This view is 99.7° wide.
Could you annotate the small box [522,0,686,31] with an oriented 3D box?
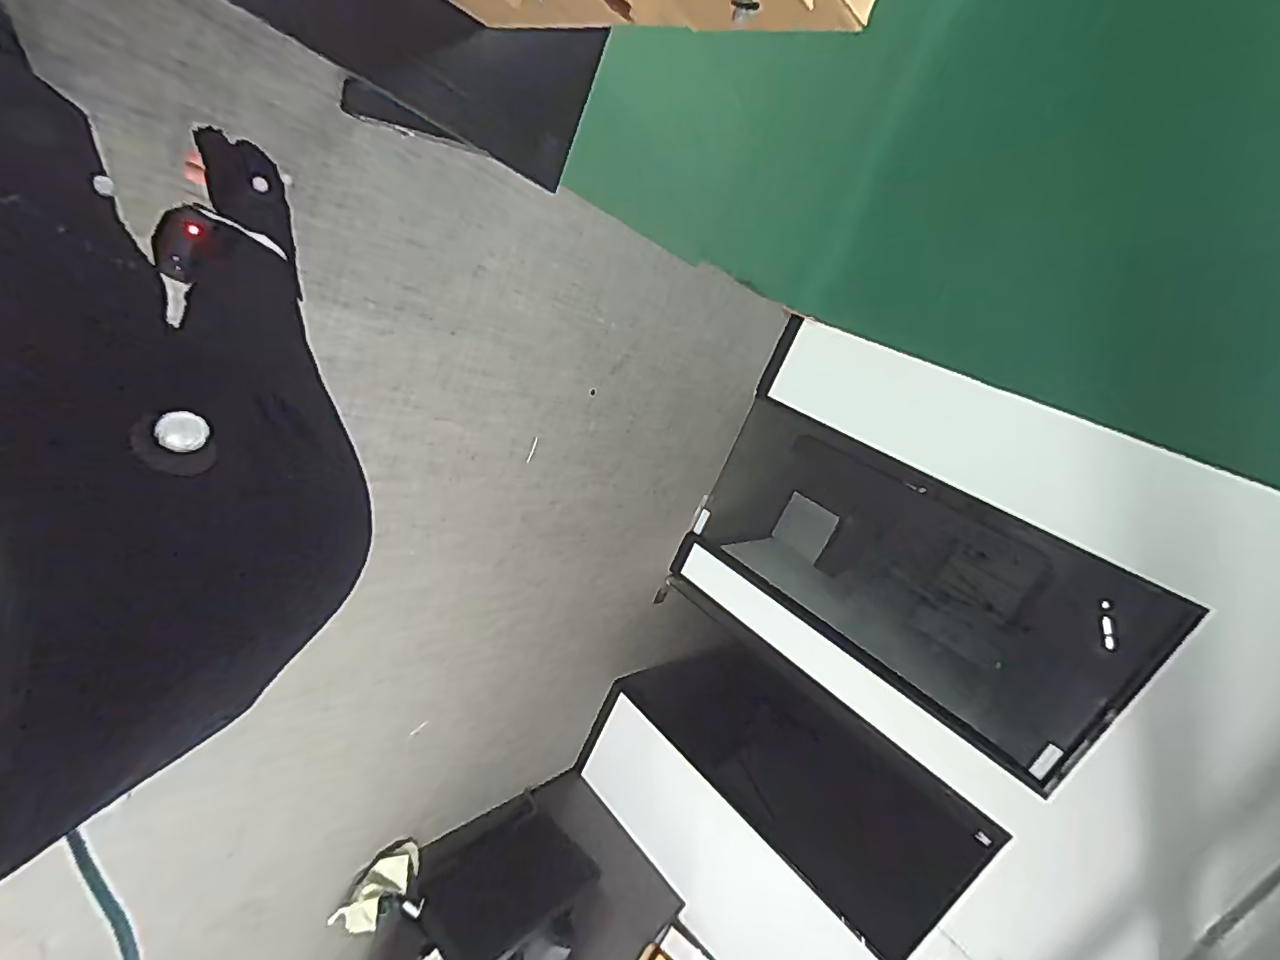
[{"bbox_3d":[-0.048,-0.501,0.428,0.168,0.176,0.179,-8,124,-47],"label":"small box"}]
